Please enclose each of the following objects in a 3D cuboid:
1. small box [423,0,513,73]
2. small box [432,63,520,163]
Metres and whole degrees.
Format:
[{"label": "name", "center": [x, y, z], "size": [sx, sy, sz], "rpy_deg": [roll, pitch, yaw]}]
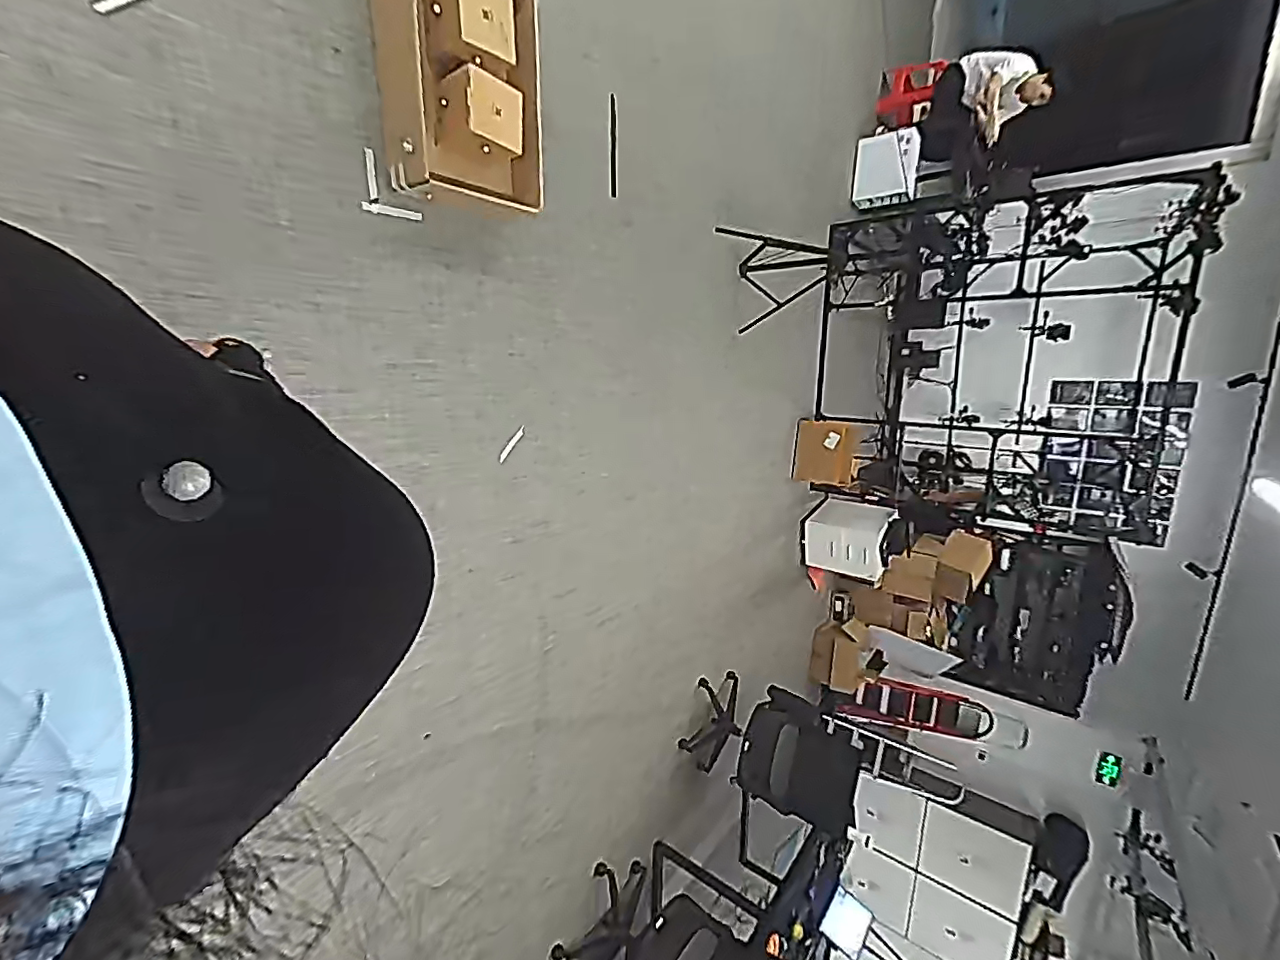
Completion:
[{"label": "small box", "center": [-0.469, -1.229, 1.464], "size": [0.179, 0.176, 0.168], "rpy_deg": [-17, 113, -50]}, {"label": "small box", "center": [-0.462, -1.021, 1.526], "size": [0.179, 0.176, 0.168], "rpy_deg": [-6, 102, -52]}]
